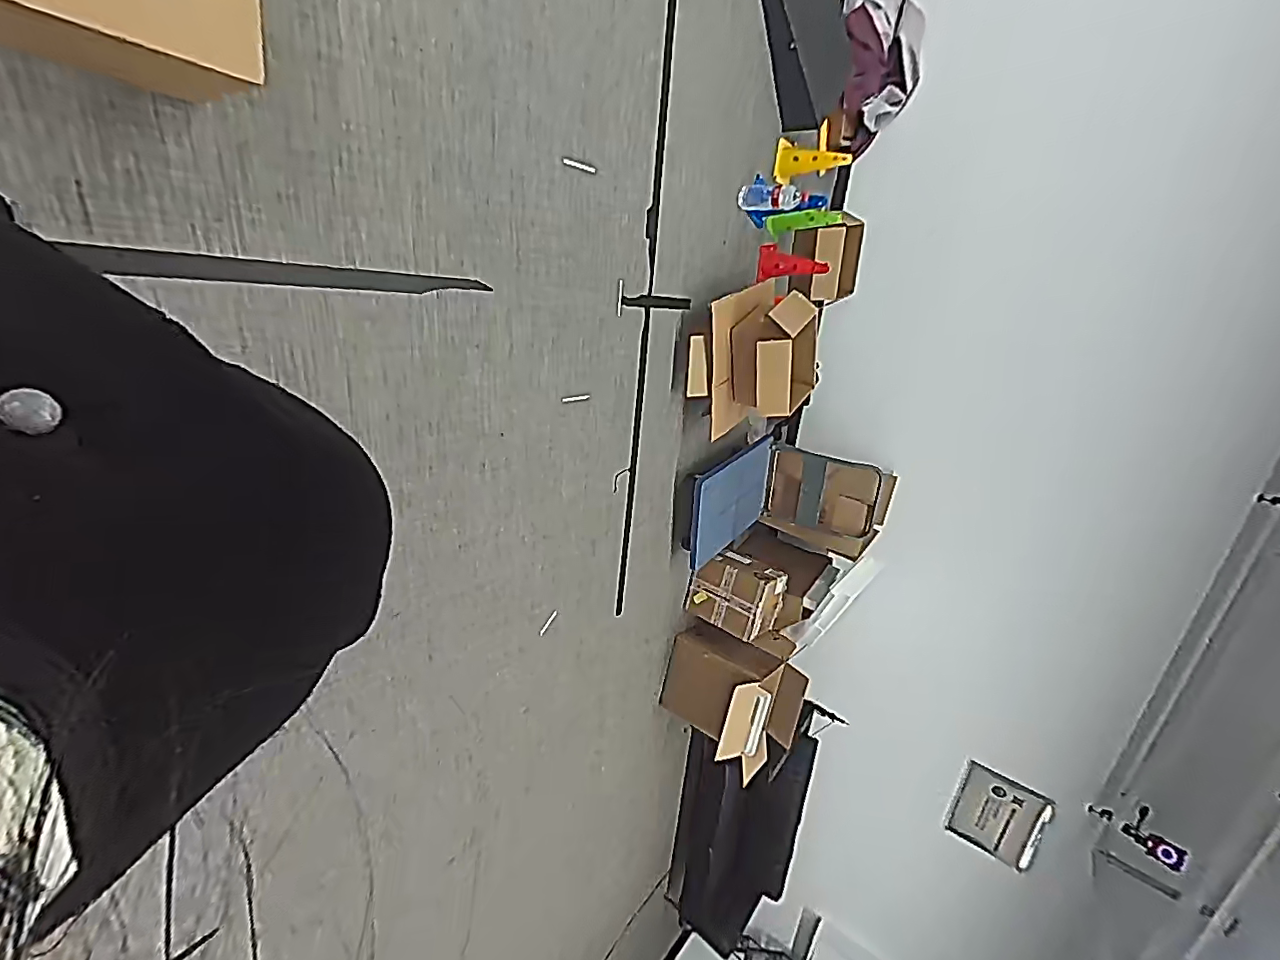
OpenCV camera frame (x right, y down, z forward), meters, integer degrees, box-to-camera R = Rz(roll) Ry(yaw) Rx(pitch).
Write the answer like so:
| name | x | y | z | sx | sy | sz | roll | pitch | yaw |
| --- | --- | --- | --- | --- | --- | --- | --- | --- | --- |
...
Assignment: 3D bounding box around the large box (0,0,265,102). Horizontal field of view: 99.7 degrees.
| name | x | y | z | sx | sy | sz | roll | pitch | yaw |
| --- | --- | --- | --- | --- | --- | --- | --- | --- | --- |
| large box | -0.842 | -0.799 | 0.774 | 0.408 | 0.320 | 0.320 | -17 | 120 | -52 |
